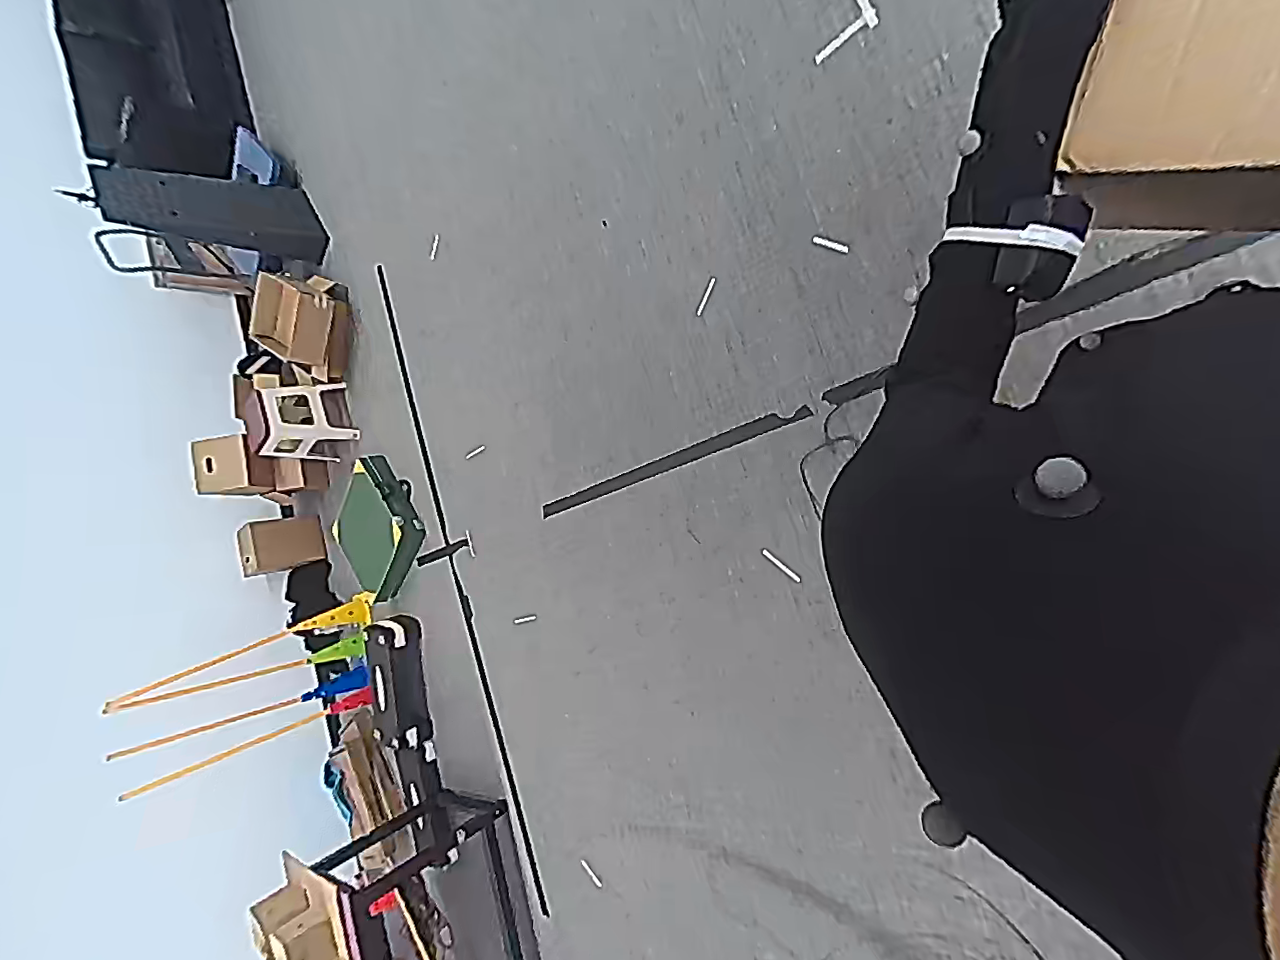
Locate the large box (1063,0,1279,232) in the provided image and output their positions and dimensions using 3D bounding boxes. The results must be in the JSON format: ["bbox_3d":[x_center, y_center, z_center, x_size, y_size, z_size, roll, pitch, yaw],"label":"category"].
[{"bbox_3d":[0.555,-0.345,0.338,0.408,0.320,0.320,19,115,34],"label":"large box"}]
